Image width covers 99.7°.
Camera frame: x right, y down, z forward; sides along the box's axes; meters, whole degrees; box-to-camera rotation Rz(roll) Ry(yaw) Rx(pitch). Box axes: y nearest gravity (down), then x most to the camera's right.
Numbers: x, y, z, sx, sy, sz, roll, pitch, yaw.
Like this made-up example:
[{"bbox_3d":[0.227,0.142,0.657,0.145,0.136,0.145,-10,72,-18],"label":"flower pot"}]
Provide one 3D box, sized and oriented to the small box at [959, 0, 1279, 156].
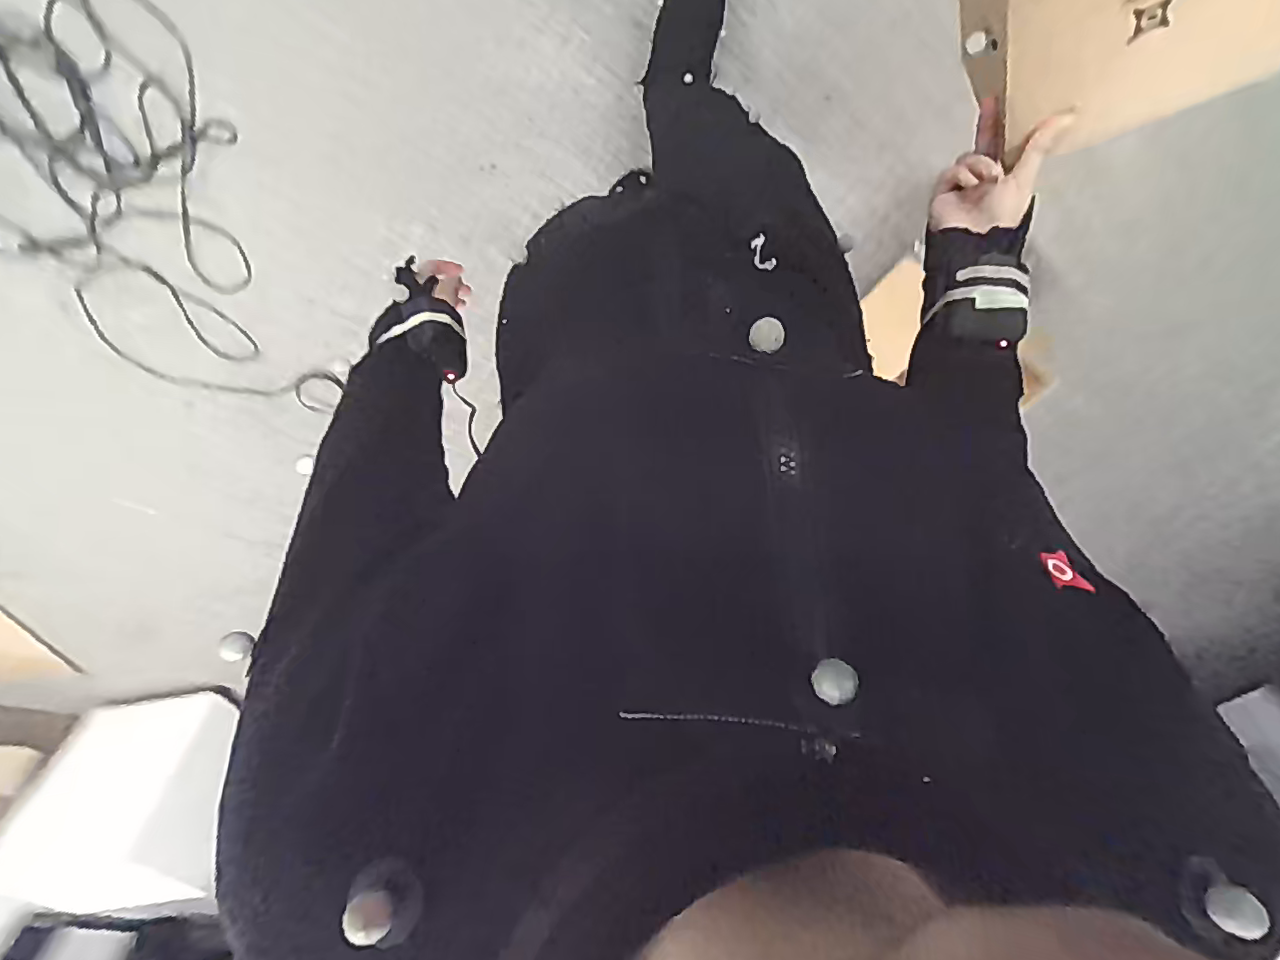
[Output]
[{"bbox_3d":[0.333,-0.388,0.380,0.168,0.176,0.179,-13,151,28],"label":"small box"}]
